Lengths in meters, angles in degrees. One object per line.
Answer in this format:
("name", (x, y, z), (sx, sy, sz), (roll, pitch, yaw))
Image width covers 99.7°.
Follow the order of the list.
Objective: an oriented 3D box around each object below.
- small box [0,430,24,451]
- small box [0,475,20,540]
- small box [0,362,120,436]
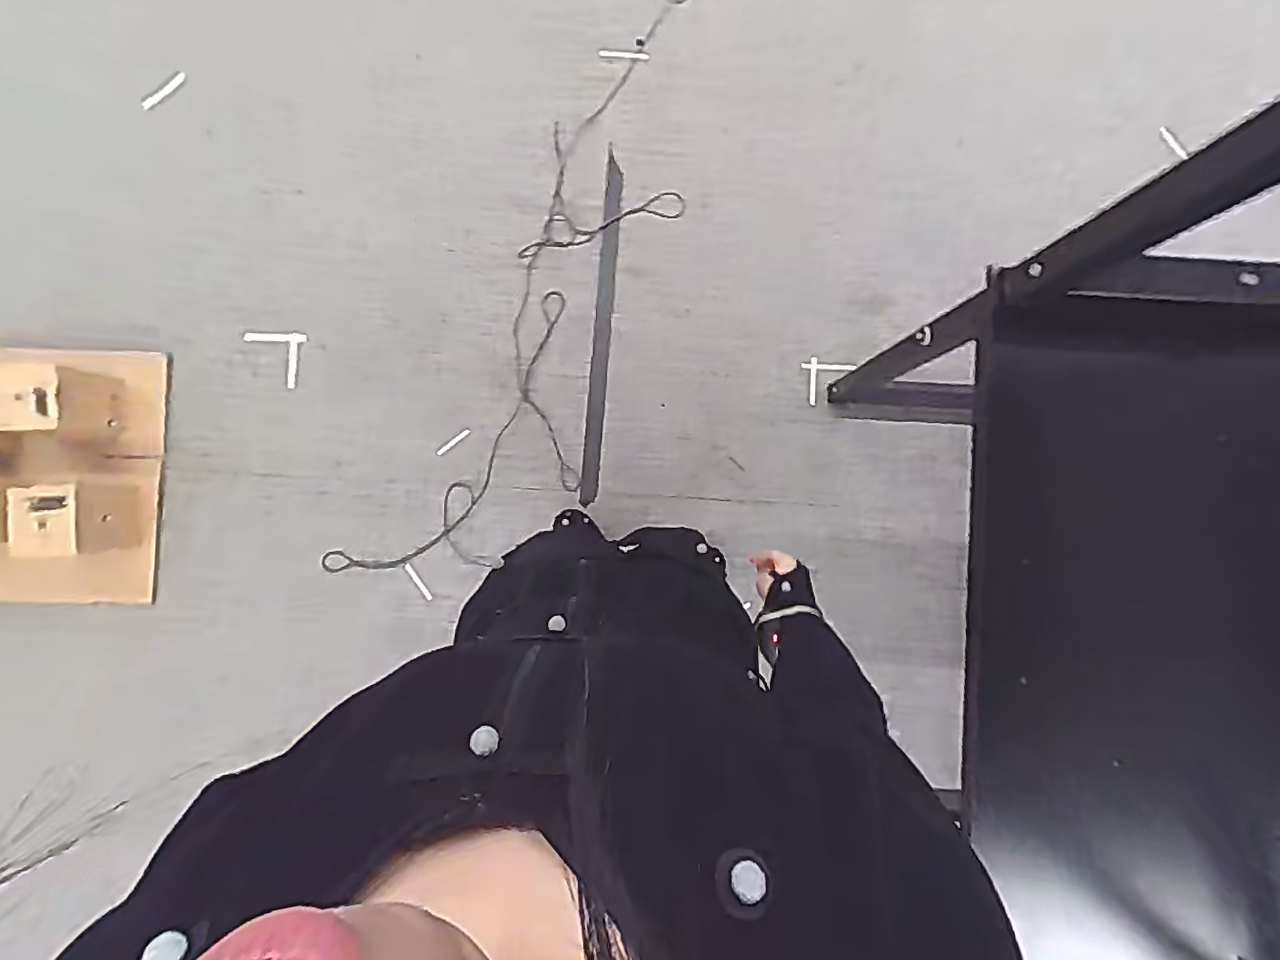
("small box", (-1.769, -0.170, 1.403), (0.168, 0.176, 0.179), (-3, 88, 0))
("small box", (-1.766, 0.075, 1.390), (0.168, 0.176, 0.179), (-2, 89, -1))
("small box", (-1.510, -0.206, 1.405), (0.179, 0.176, 0.168), (-2, 88, 0))
